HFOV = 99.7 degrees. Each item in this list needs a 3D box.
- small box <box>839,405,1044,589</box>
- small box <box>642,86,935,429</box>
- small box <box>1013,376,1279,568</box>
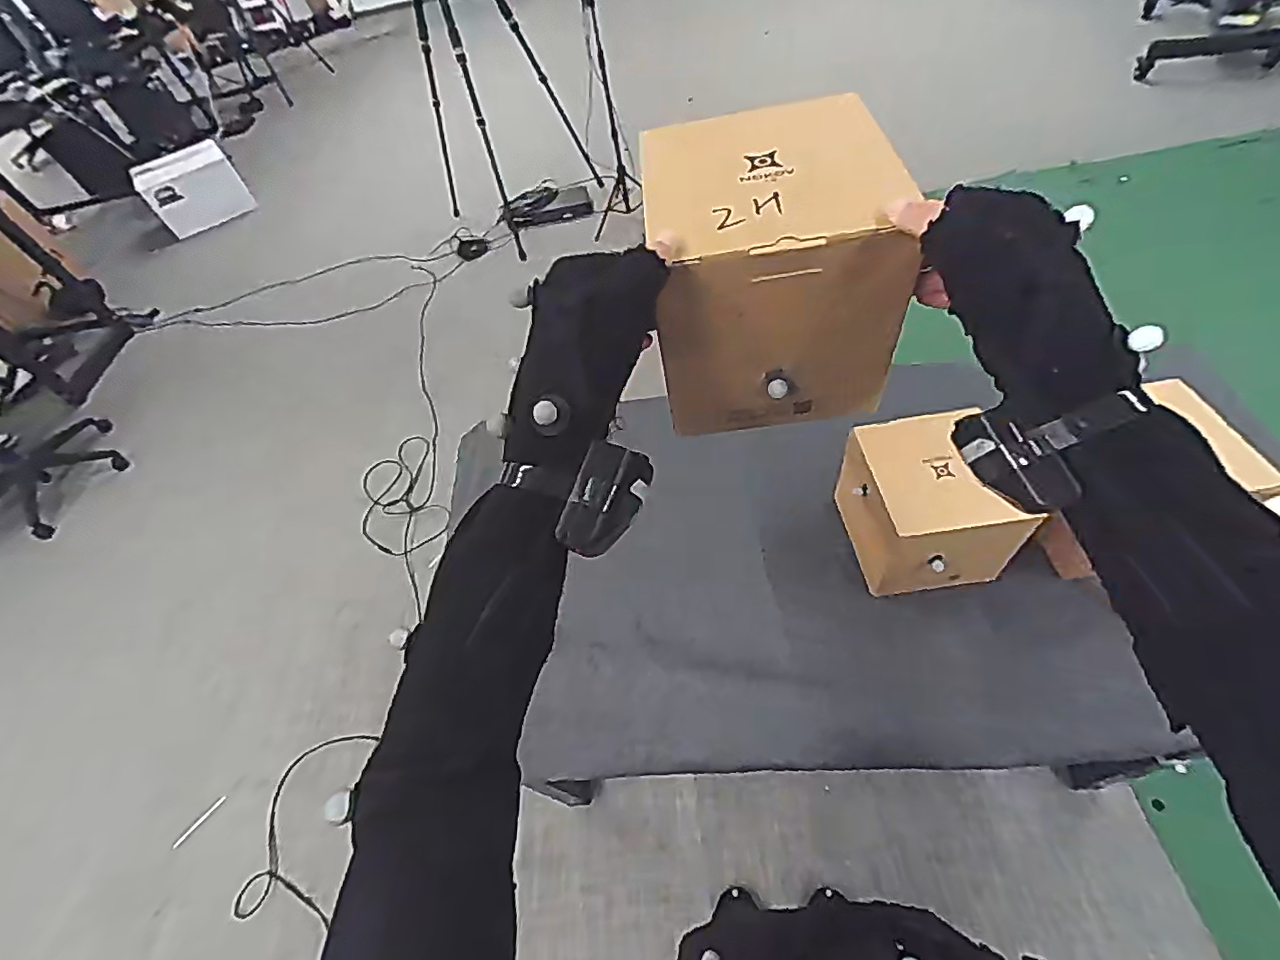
[{"bbox_3d":[0.377,0.031,0.717,0.168,0.176,0.179,-9,52,5],"label":"small box"},{"bbox_3d":[0.094,-0.164,0.420,0.168,0.176,0.179,-6,56,7],"label":"small box"},{"bbox_3d":[0.614,-0.001,0.690,0.168,0.176,0.179,-9,51,4],"label":"small box"}]
